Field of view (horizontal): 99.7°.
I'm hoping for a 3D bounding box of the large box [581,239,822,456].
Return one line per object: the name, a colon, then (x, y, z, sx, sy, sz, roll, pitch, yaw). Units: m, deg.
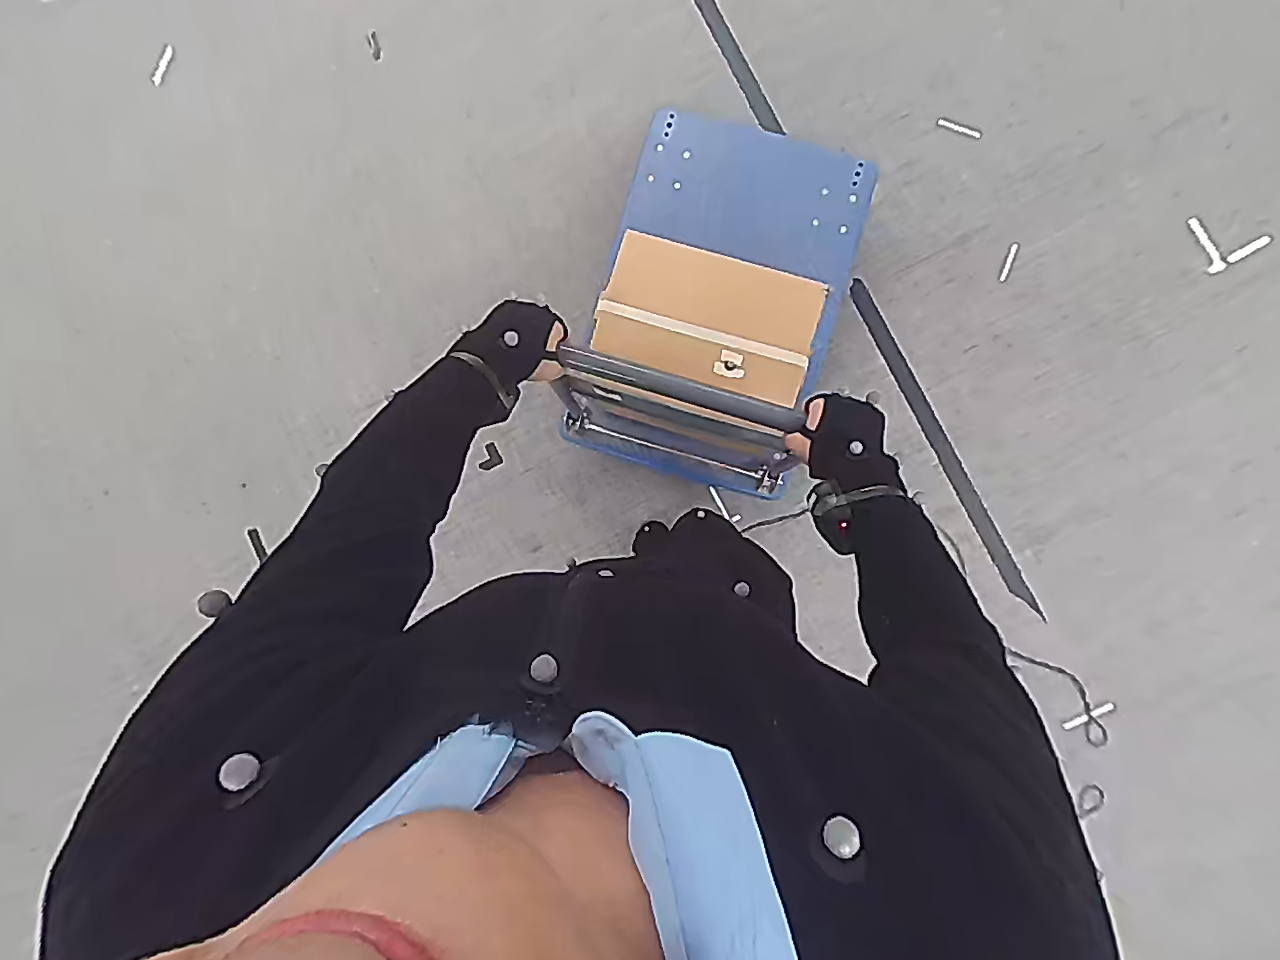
large box: (0.119, -0.263, 1.179, 0.408, 0.320, 0.320, 17, 89, 2)
